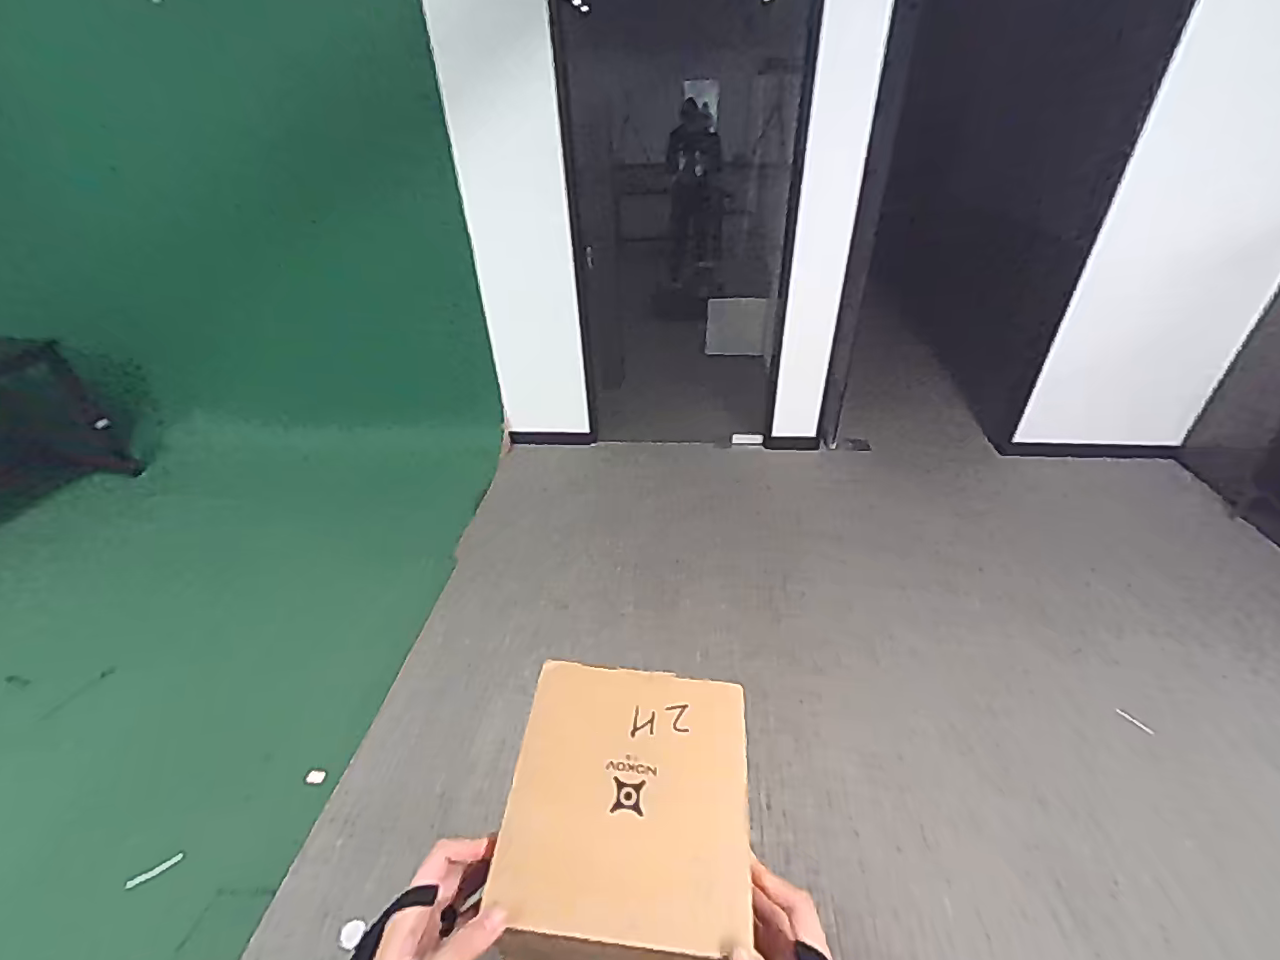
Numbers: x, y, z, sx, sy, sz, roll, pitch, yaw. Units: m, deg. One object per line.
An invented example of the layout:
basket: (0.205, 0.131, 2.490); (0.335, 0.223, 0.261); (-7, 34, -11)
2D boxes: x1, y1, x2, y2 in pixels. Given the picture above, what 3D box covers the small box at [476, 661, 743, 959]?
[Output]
small box: (-0.014, 0.276, 0.435); (0.168, 0.176, 0.179); (7, 41, 2)
